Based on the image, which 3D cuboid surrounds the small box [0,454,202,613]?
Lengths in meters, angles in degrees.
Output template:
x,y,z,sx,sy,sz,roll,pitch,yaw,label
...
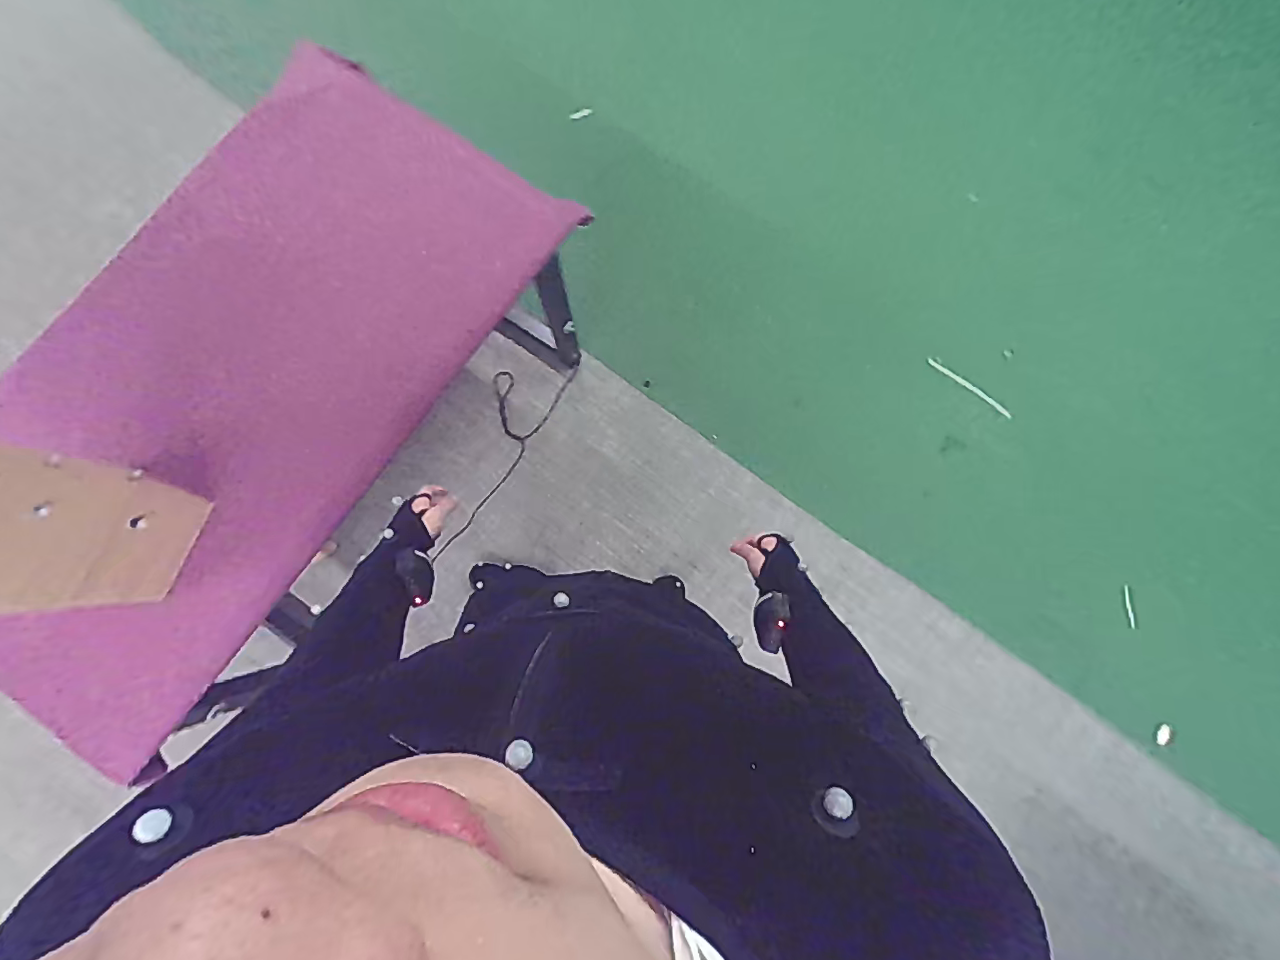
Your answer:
x,y,z,sx,sy,sz,roll,pitch,yaw,label
-0.823,0.084,0.817,0.168,0.176,0.179,21,81,2,small box
